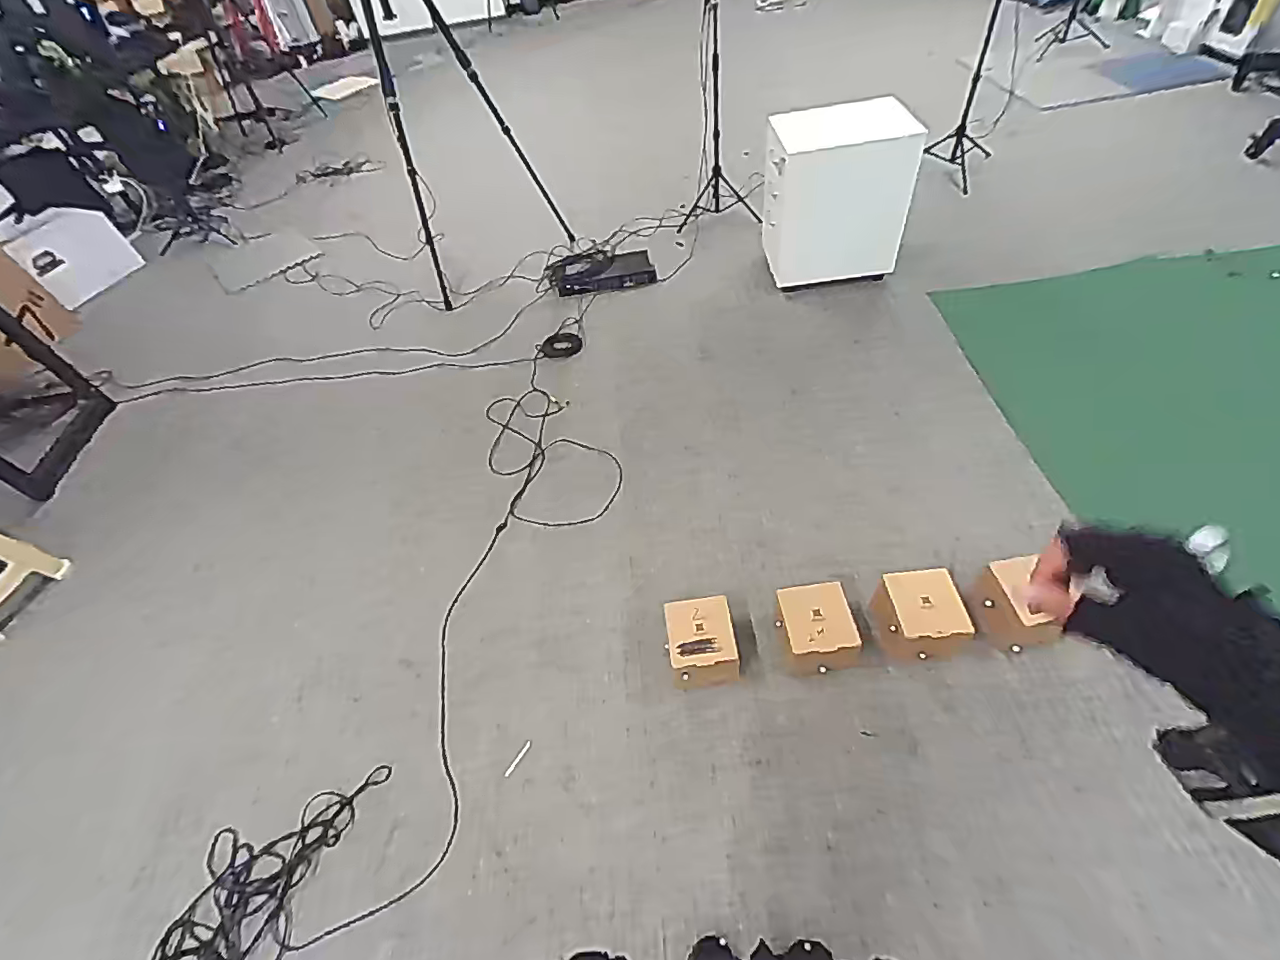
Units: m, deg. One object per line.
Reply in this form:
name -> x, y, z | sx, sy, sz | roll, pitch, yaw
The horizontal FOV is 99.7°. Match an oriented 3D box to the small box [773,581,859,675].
small box -> 0.447, 0.387, 1.406 | 0.168, 0.176, 0.179 | -9, 52, 3

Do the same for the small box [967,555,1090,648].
small box -> 0.979, 0.317, 1.382 | 0.168, 0.176, 0.179 | -9, 51, 2

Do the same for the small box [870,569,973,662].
small box -> 0.713, 0.352, 1.396 | 0.168, 0.176, 0.179 | -6, 52, 3
